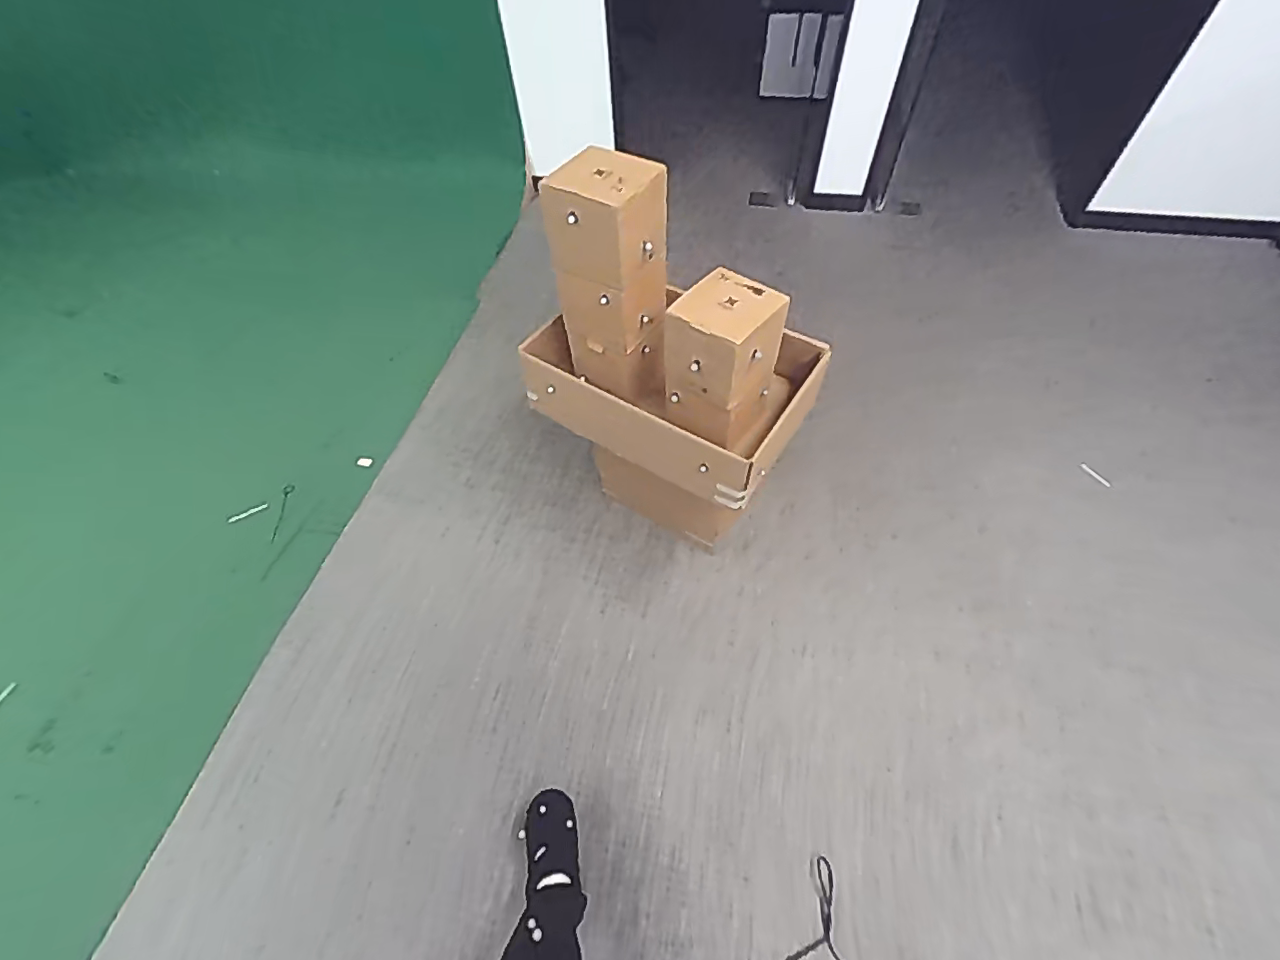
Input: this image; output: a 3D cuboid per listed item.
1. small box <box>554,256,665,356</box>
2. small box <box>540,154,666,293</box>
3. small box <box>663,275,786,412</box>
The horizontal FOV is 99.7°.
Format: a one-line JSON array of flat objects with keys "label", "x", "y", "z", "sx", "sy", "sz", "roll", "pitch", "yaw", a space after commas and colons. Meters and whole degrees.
[{"label": "small box", "x": -0.062, "y": -0.400, "z": 1.182, "sx": 0.179, "sy": 0.176, "sz": 0.168, "roll": 28, "pitch": 60, "yaw": 19}, {"label": "small box", "x": -0.066, "y": -0.492, "z": 1.046, "sx": 0.179, "sy": 0.176, "sz": 0.168, "roll": 28, "pitch": 61, "yaw": 18}, {"label": "small box", "x": 0.164, "y": -0.268, "z": 1.077, "sx": 0.168, "sy": 0.176, "sz": 0.179, "roll": 35, "pitch": 63, "yaw": 23}]
